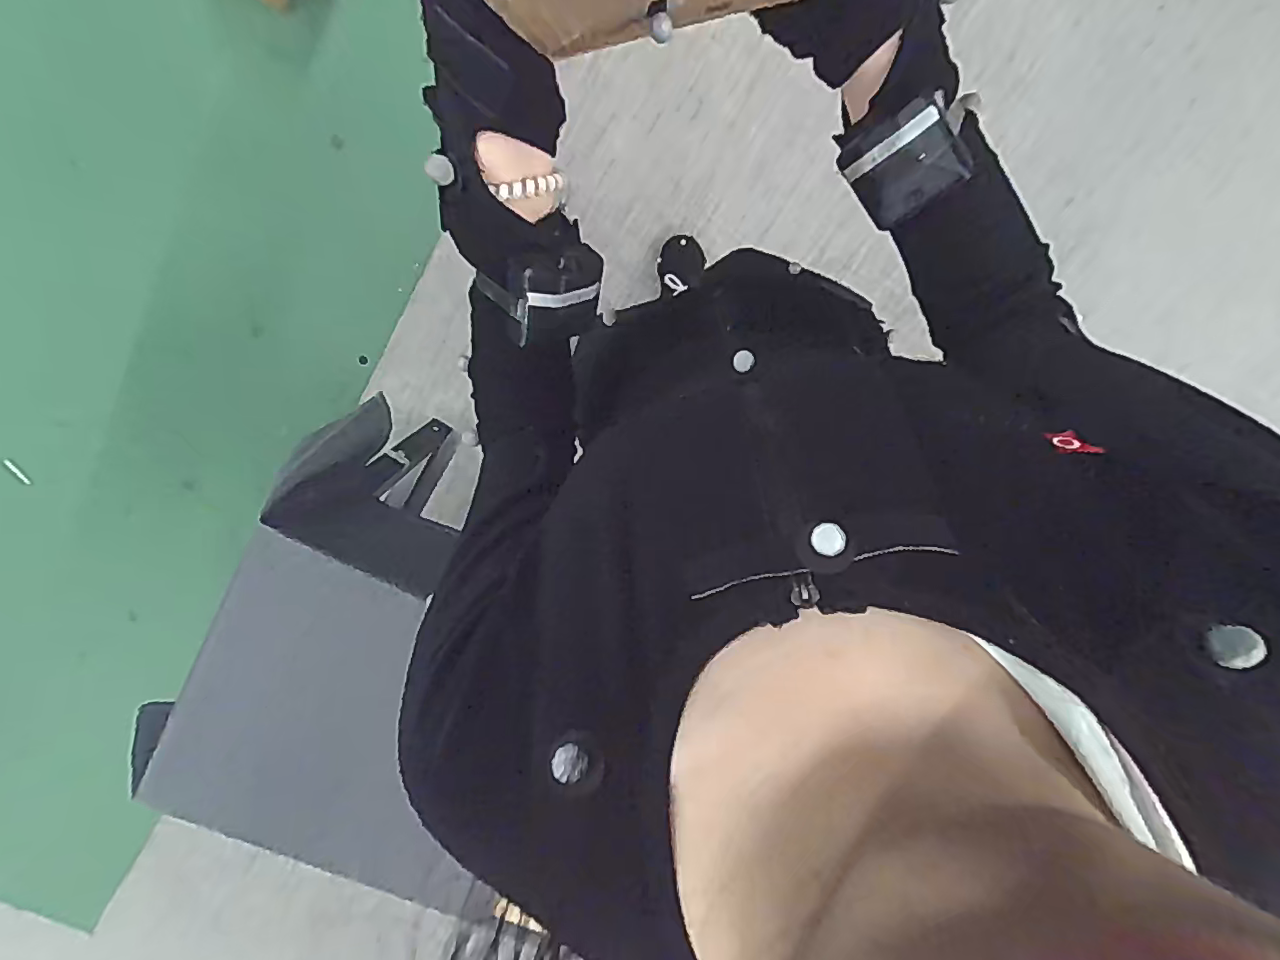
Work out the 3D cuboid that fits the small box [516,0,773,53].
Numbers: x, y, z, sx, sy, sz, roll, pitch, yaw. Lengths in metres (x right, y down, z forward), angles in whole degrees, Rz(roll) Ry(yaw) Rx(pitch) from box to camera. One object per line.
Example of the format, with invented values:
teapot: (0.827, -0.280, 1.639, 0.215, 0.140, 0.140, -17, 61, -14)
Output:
small box: (0.003, -0.301, 0.207, 0.168, 0.176, 0.179, -11, 121, 6)
